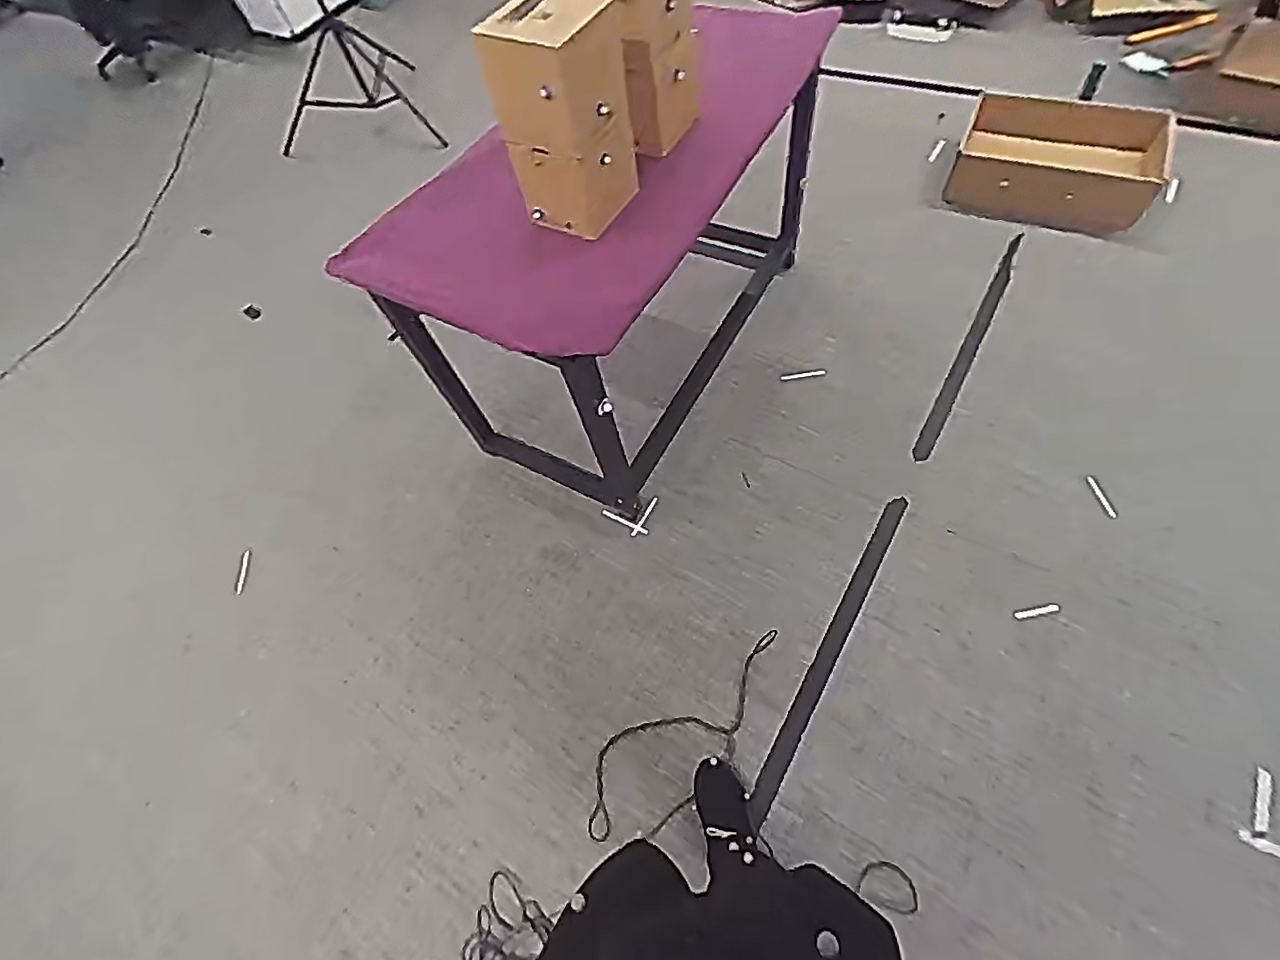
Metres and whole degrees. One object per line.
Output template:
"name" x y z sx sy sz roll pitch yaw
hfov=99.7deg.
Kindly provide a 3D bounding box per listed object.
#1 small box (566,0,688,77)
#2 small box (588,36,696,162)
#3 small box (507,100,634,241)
"small box" -0.020 -0.911 1.033 0.179 0.176 0.168 25 68 21
"small box" 0.012 -0.835 1.176 0.168 0.176 0.179 25 69 20
"small box" -0.126 -0.608 1.071 0.168 0.176 0.179 25 67 20
